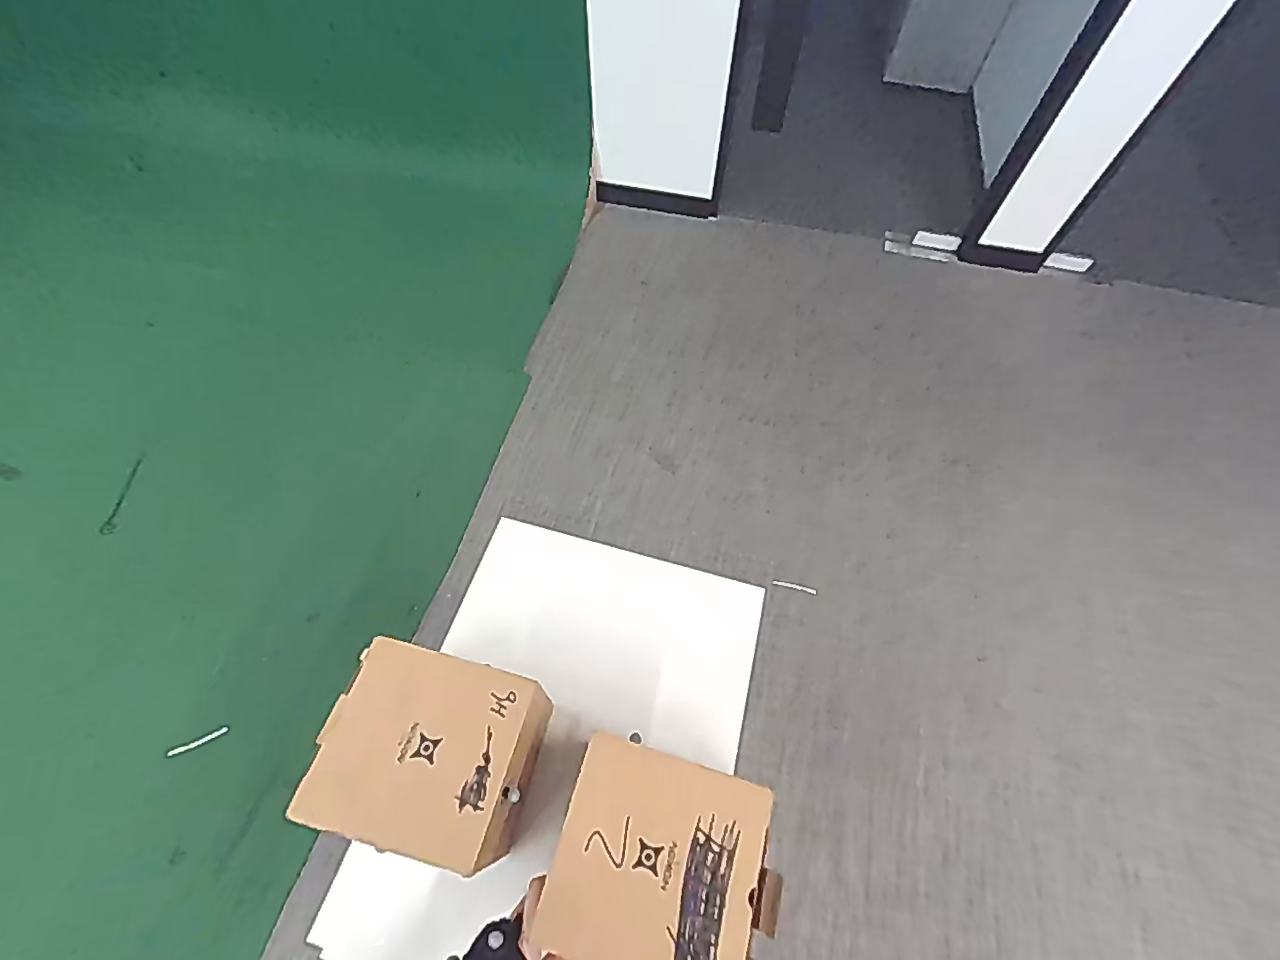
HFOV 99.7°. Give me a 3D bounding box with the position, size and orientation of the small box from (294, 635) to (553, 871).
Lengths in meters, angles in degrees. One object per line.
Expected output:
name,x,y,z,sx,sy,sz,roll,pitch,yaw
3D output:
small box,-0.205,0.286,0.574,0.179,0.176,0.168,14,60,6
